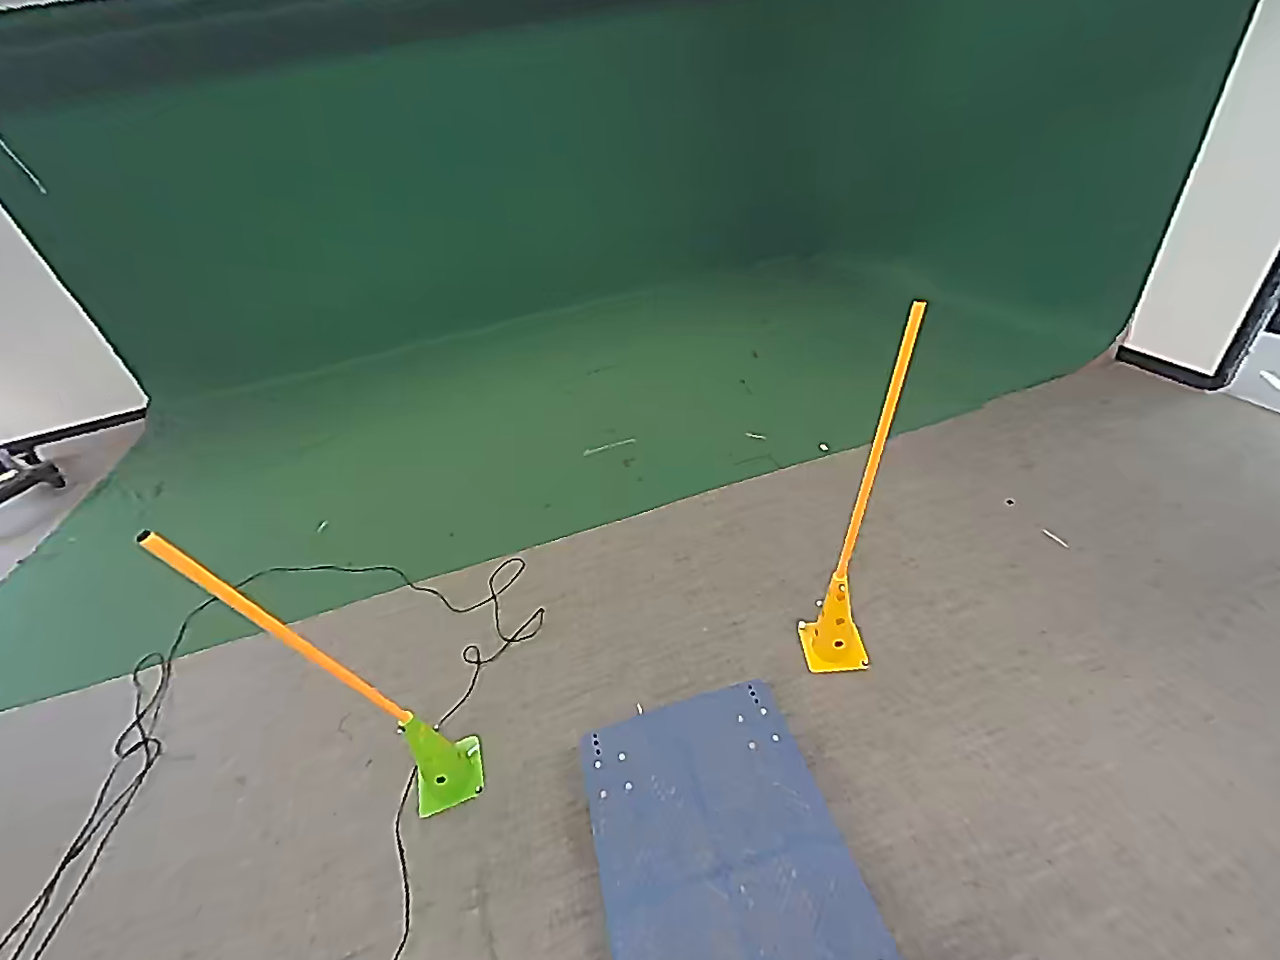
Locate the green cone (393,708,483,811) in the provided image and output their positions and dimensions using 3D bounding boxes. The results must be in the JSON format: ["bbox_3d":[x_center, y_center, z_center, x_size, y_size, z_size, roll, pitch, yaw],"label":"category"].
[{"bbox_3d":[-0.635,0.788,1.620,0.202,0.368,0.200,-21,38,-10],"label":"green cone"}]
